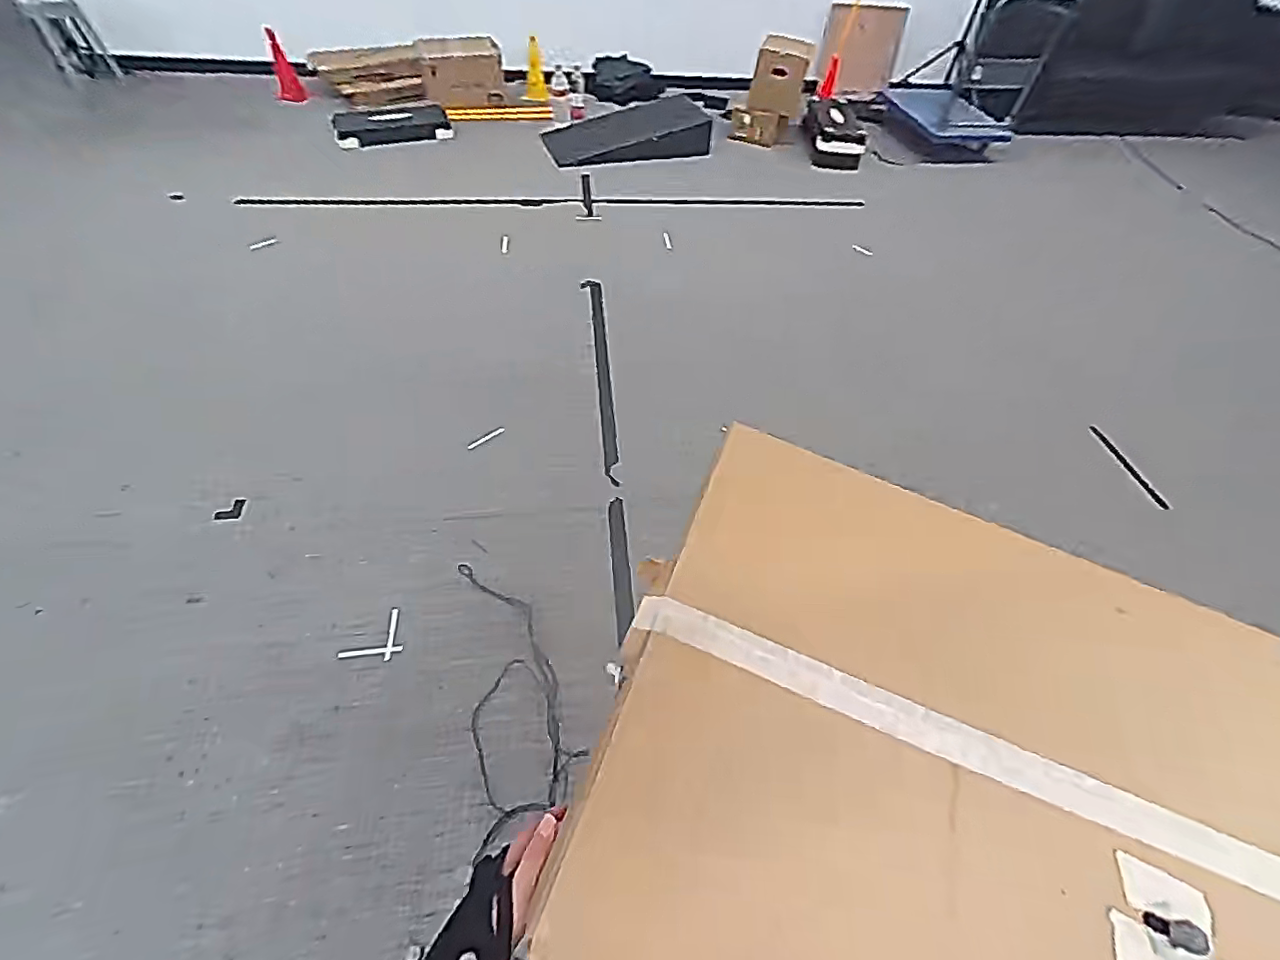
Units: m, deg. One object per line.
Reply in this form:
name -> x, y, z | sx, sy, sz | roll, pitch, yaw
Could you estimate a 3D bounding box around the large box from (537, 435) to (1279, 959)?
large box -> 0.166, 0.231, 0.417 | 0.408, 0.320, 0.320 | 22, 57, 4
